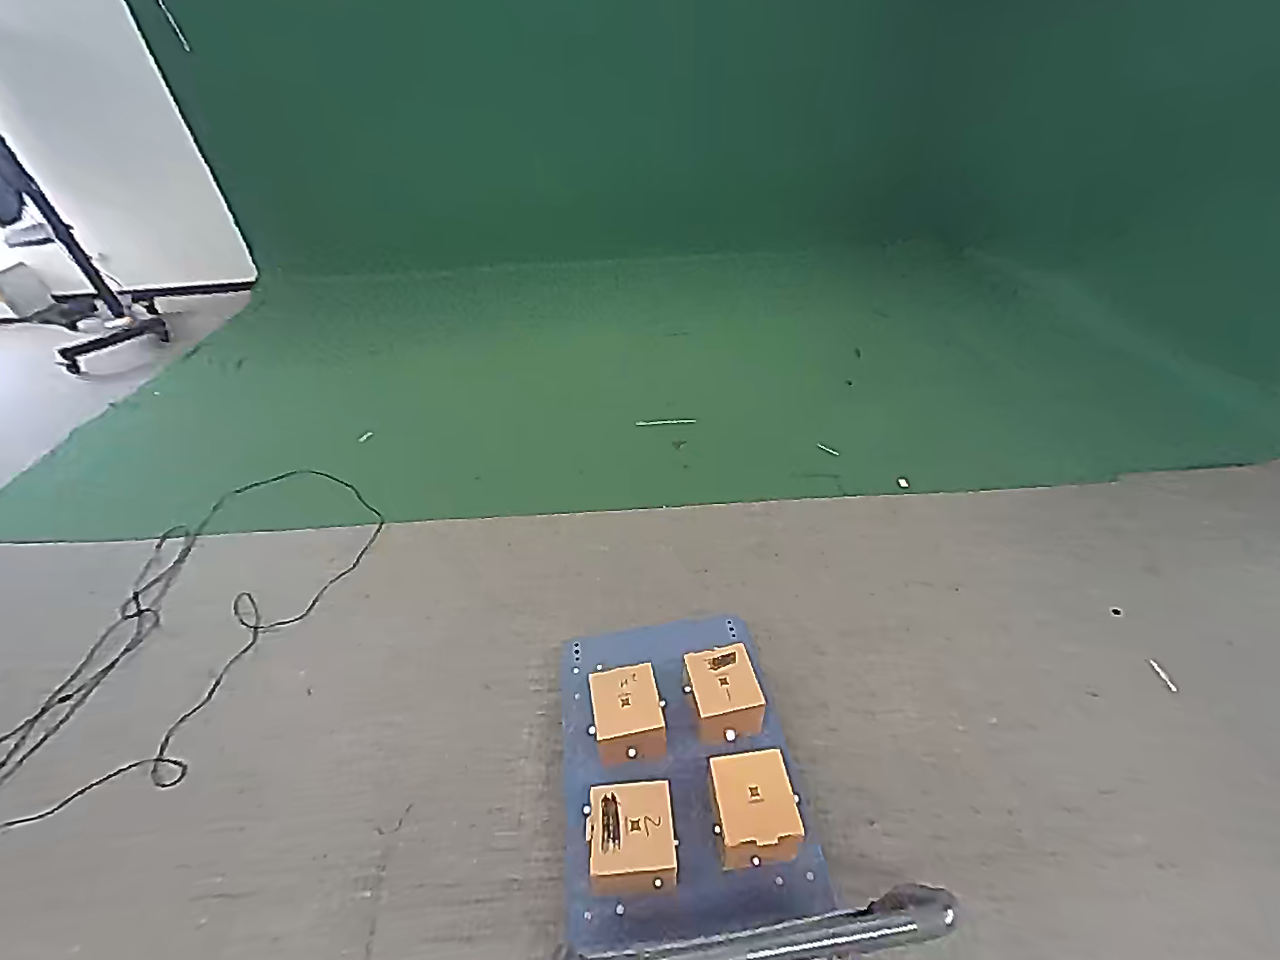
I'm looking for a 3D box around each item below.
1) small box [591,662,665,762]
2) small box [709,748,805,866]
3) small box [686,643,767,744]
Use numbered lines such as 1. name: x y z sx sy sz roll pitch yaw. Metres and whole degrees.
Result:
1. small box: -0.030 0.603 1.391 0.168 0.176 0.179 -8 41 -7
2. small box: 0.253 0.736 1.218 0.168 0.176 0.179 -6 41 -3
3. small box: 0.218 0.560 1.420 0.168 0.176 0.179 -10 42 -6
